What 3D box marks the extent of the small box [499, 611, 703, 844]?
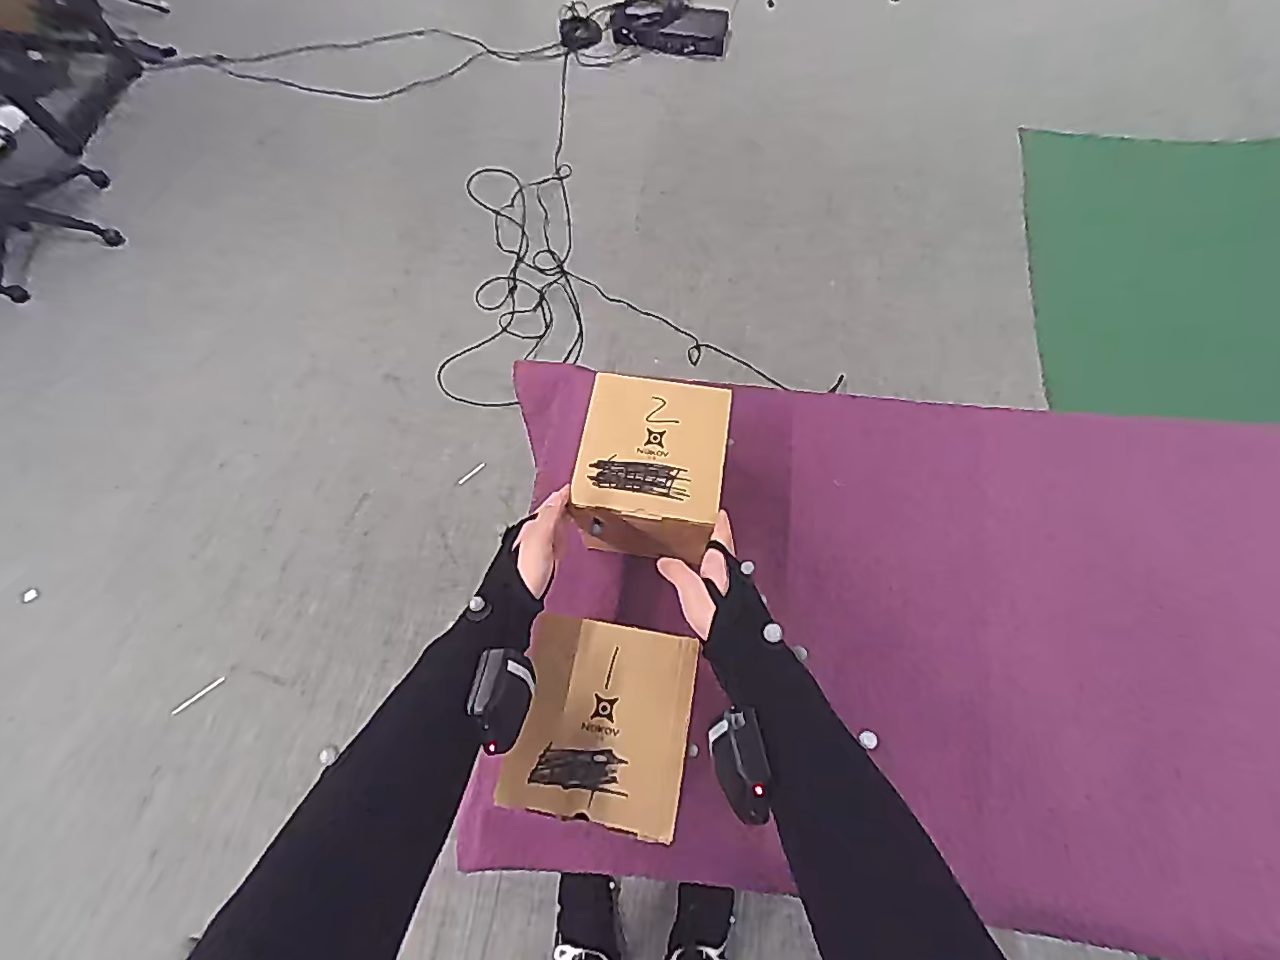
[{"bbox_3d":[-0.029,0.255,0.581,0.168,0.176,0.179,9,67,6],"label":"small box"}]
